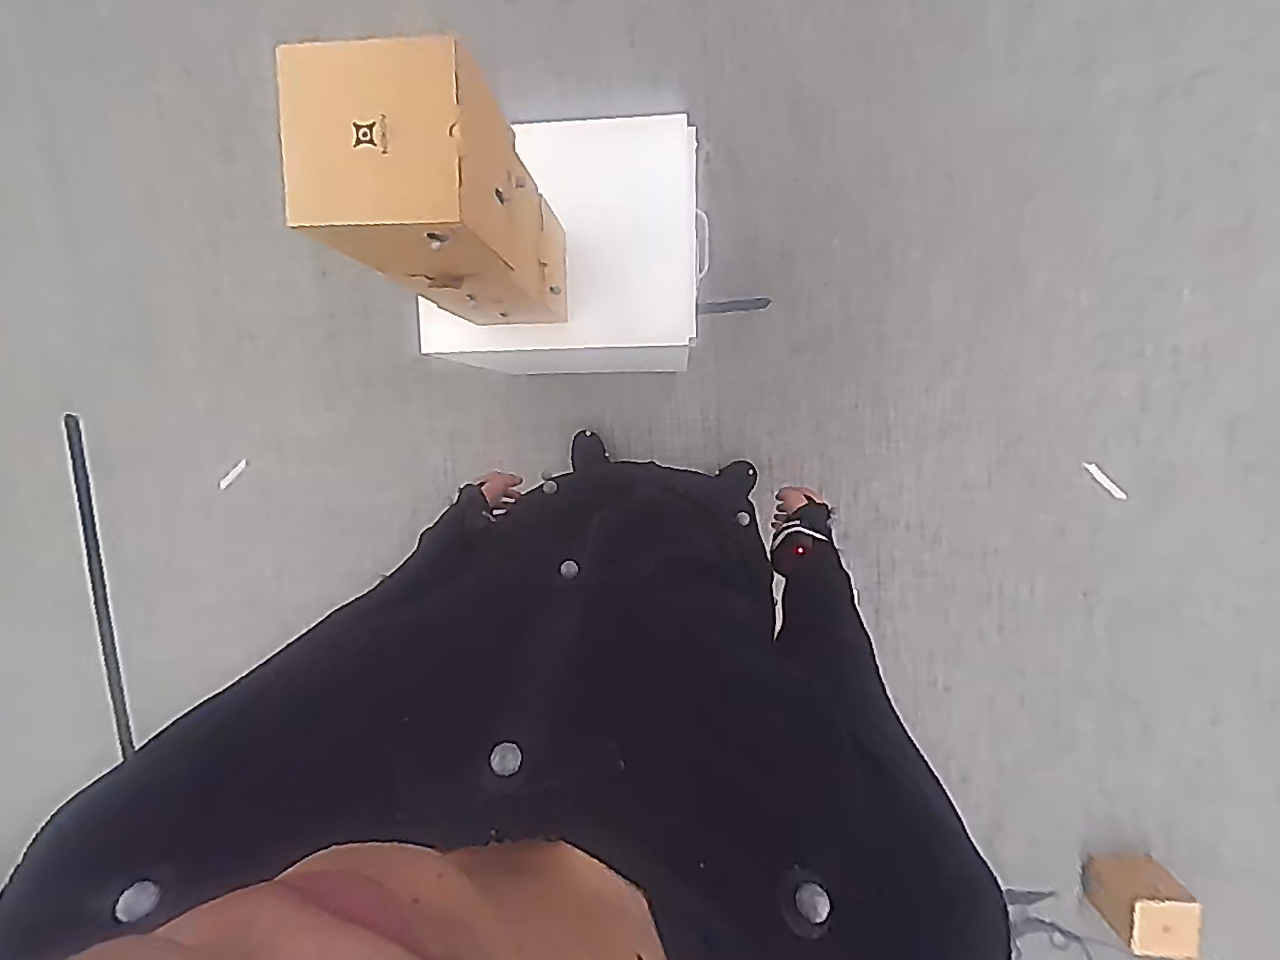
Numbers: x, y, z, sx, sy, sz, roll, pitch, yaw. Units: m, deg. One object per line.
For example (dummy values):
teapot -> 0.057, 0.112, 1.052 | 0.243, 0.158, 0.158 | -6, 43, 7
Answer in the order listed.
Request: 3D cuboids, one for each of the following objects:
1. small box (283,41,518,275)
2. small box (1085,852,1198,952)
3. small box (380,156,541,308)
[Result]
small box -> -0.243, -0.328, 0.586 | 0.179, 0.176, 0.168 | 0, 96, 4
small box -> 1.465, 1.234, 1.589 | 0.179, 0.176, 0.168 | -1, 96, 4
small box -> -0.239, -0.347, 0.748 | 0.168, 0.176, 0.179 | 2, 96, 5
